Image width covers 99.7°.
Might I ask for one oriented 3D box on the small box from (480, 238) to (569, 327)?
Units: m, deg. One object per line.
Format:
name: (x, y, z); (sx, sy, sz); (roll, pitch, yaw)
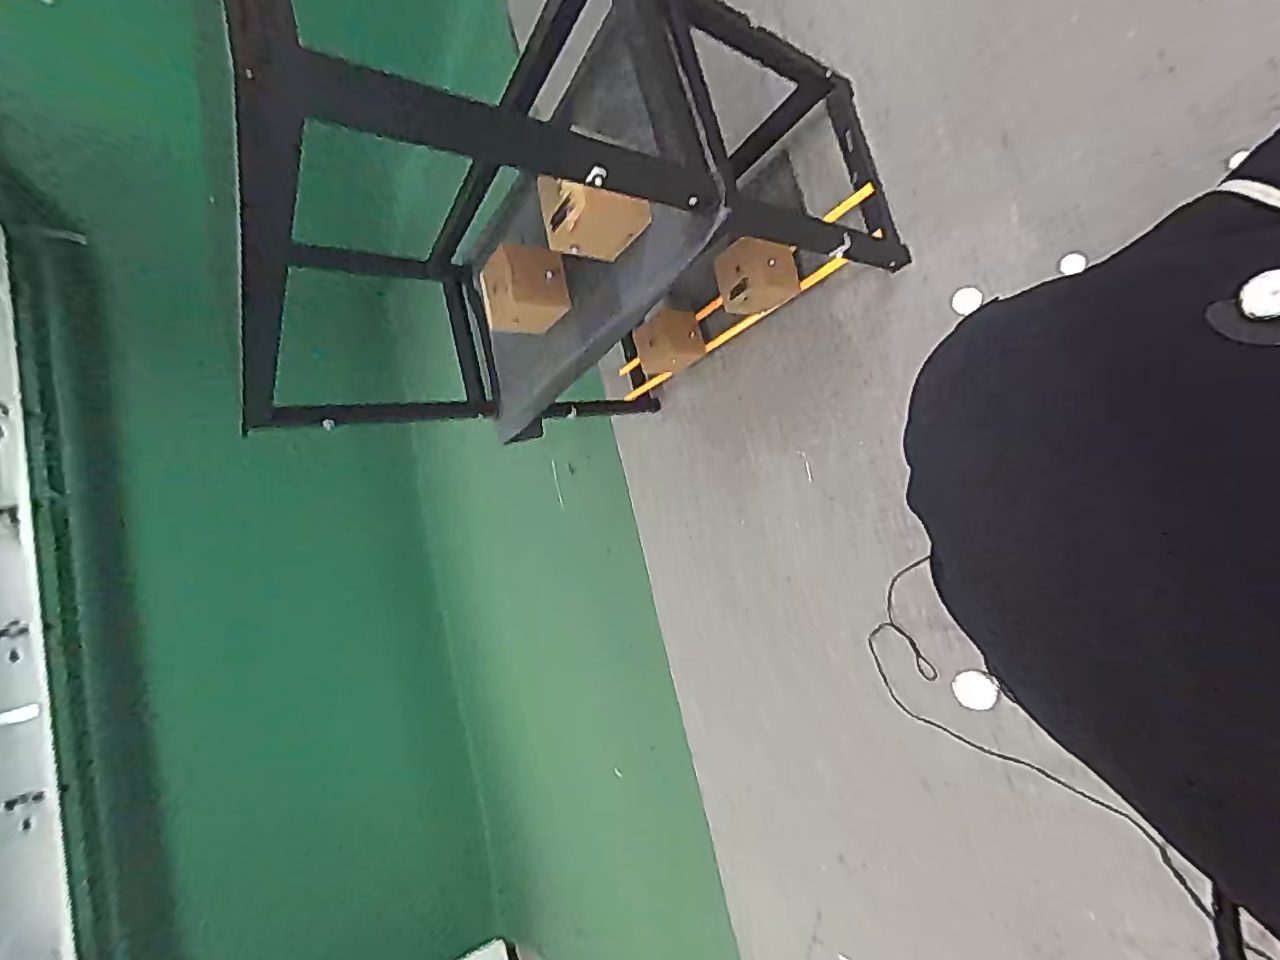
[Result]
small box: (-0.313, -0.524, 1.464); (0.179, 0.176, 0.168); (-19, 82, 53)

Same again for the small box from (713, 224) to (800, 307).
small box: (0.350, -0.628, 1.609); (0.168, 0.176, 0.179); (-18, 83, 52)
